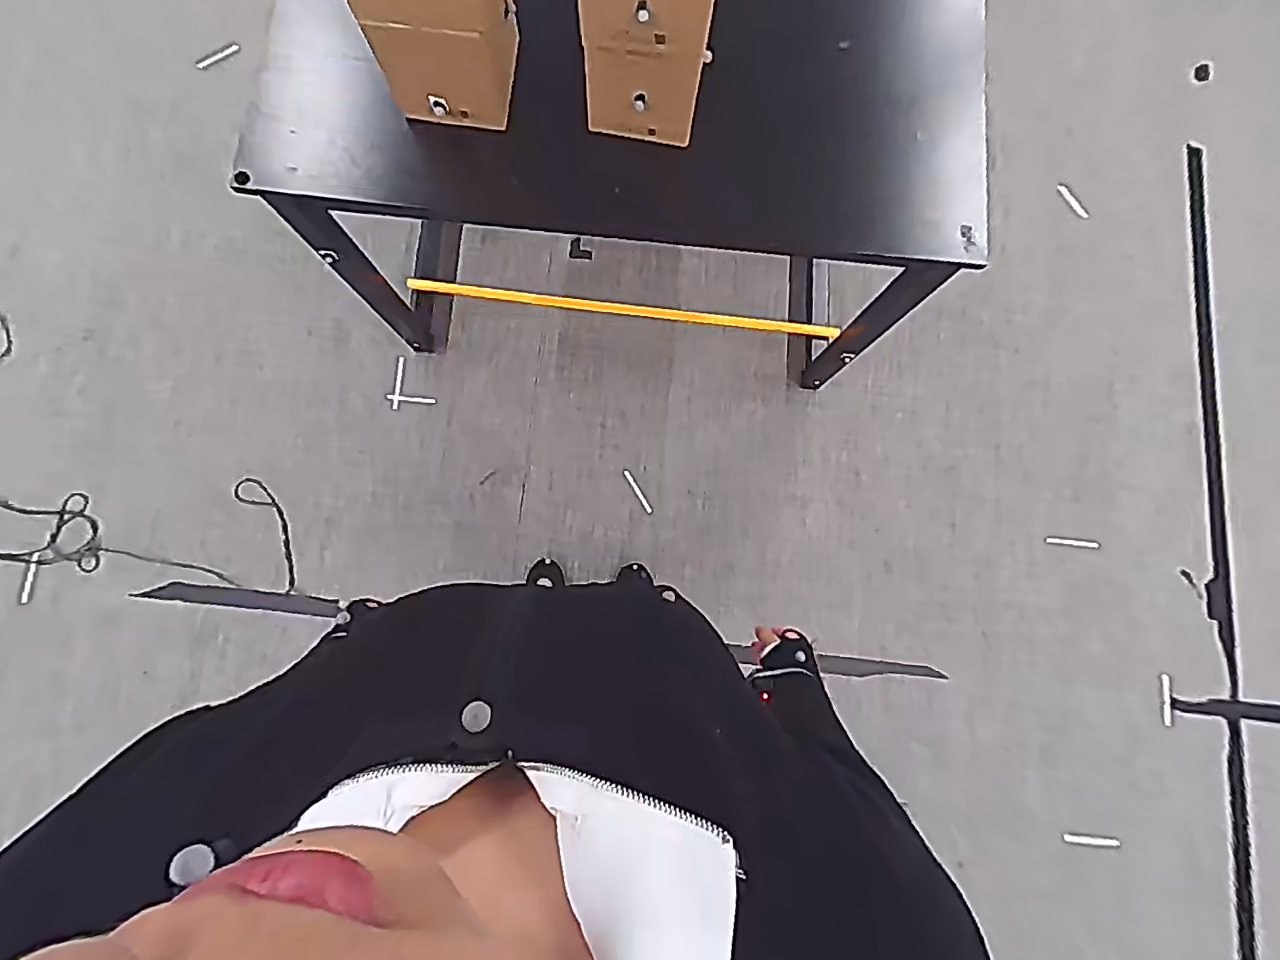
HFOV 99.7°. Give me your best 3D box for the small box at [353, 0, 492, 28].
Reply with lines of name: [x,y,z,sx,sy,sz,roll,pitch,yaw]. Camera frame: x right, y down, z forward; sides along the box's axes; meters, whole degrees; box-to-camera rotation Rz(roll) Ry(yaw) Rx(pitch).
small box: [-0.277,-0.689,0.643,0.179,0.176,0.168,4,82,-2]

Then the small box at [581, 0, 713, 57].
small box: [0.014,-0.667,0.651,0.168,0.176,0.179,5,82,-1]

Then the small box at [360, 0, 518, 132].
small box: [-0.284,-0.668,0.806,0.168,0.176,0.179,5,83,-1]

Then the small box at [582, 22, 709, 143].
small box: [0.013,-0.652,0.816,0.168,0.176,0.179,9,82,-1]
